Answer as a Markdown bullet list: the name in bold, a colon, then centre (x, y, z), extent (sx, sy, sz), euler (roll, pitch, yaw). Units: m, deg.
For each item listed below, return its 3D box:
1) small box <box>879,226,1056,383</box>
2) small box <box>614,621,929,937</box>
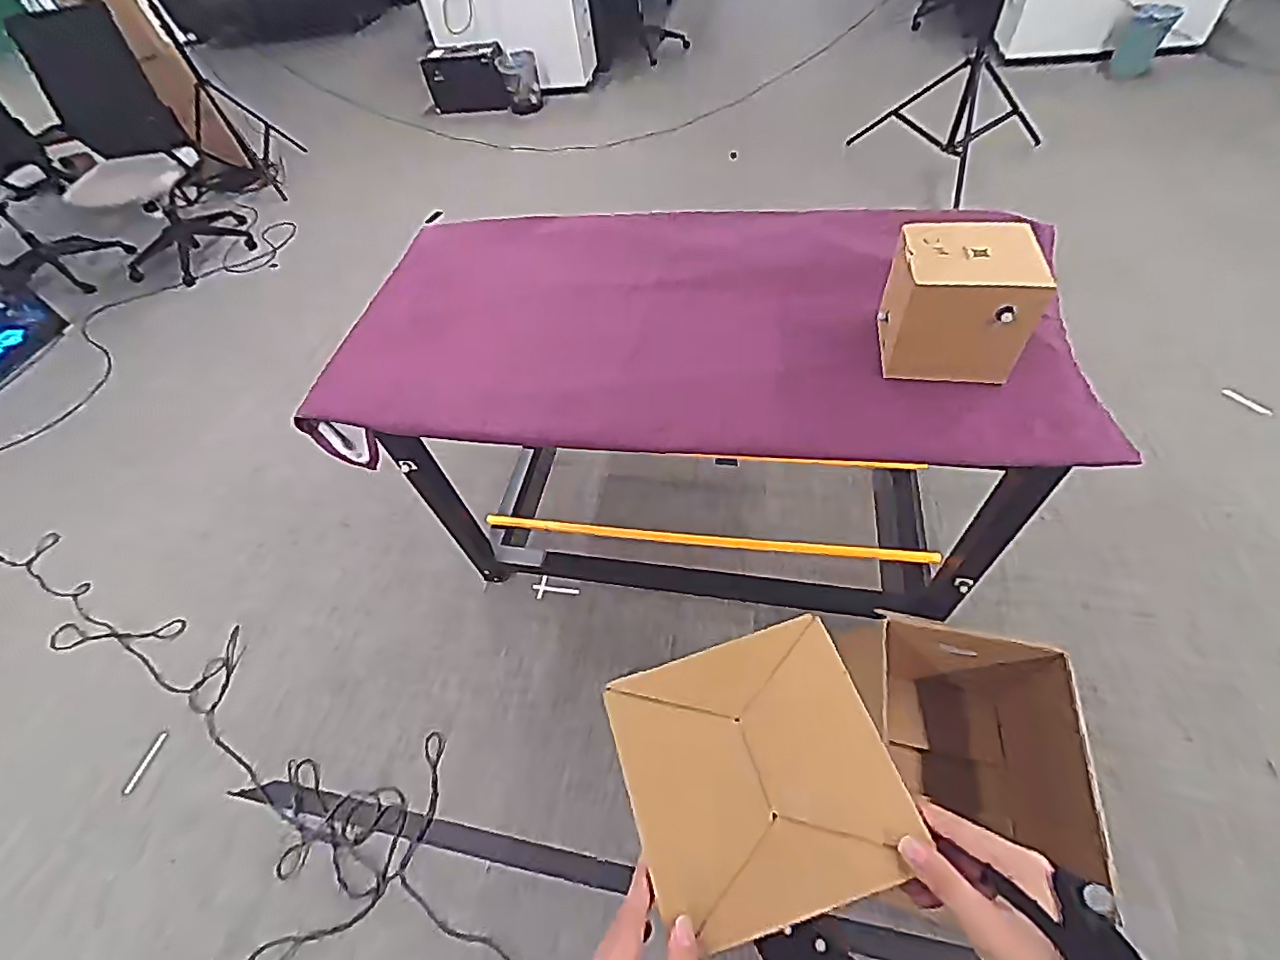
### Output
- **small box**: centre (0.482, -0.265, 0.828), extent (0.179, 0.176, 0.168), euler (6, 52, 12)
- **small box**: centre (0.086, 0.233, 0.434), extent (0.179, 0.176, 0.168), euler (-17, 56, -5)
